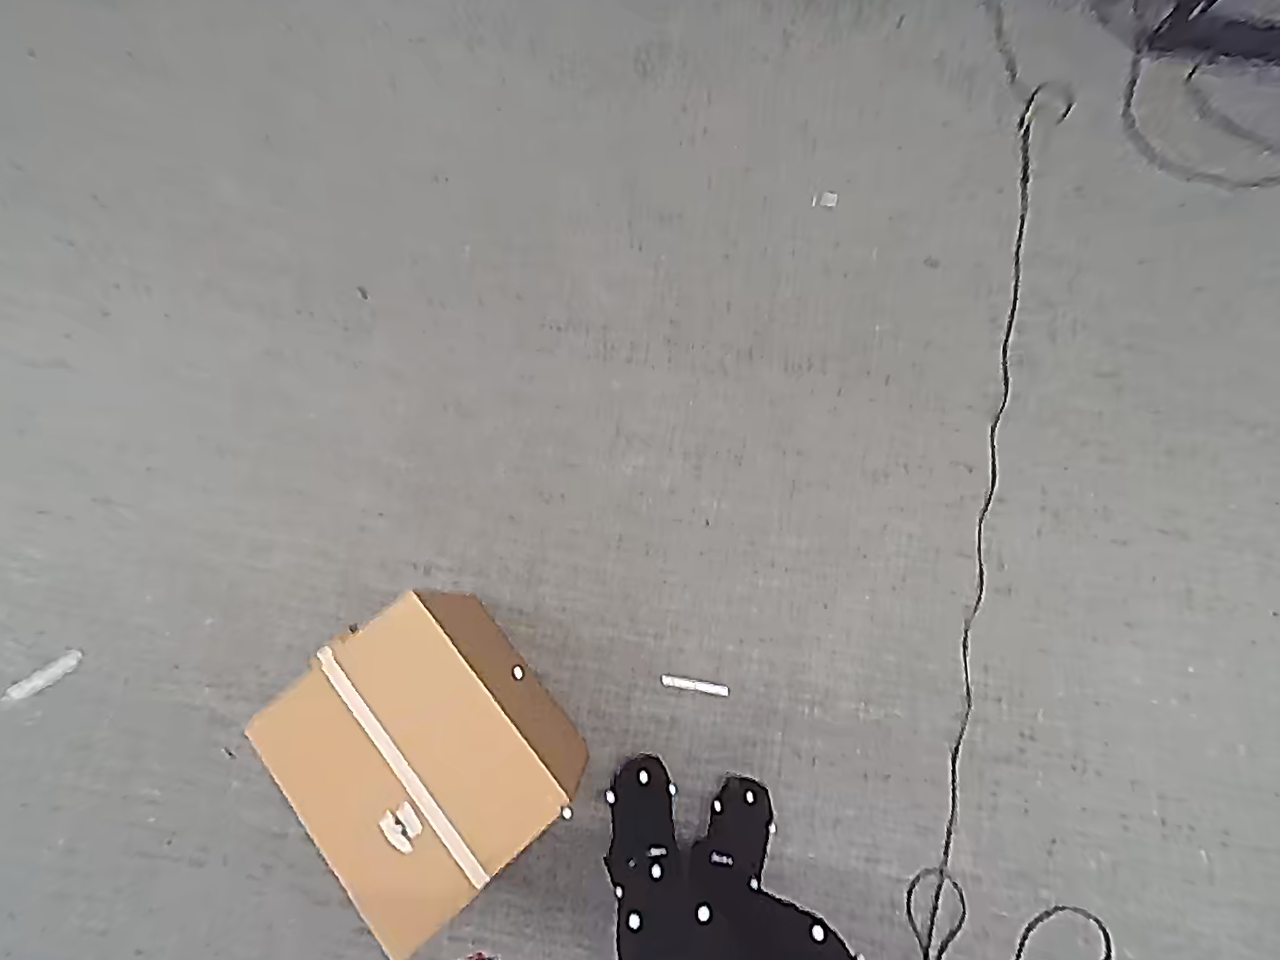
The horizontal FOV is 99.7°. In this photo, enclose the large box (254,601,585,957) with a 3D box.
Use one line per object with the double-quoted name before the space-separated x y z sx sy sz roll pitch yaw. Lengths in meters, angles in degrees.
"large box" -0.350 0.468 0.961 0.320 0.320 0.408 -41 80 -8
